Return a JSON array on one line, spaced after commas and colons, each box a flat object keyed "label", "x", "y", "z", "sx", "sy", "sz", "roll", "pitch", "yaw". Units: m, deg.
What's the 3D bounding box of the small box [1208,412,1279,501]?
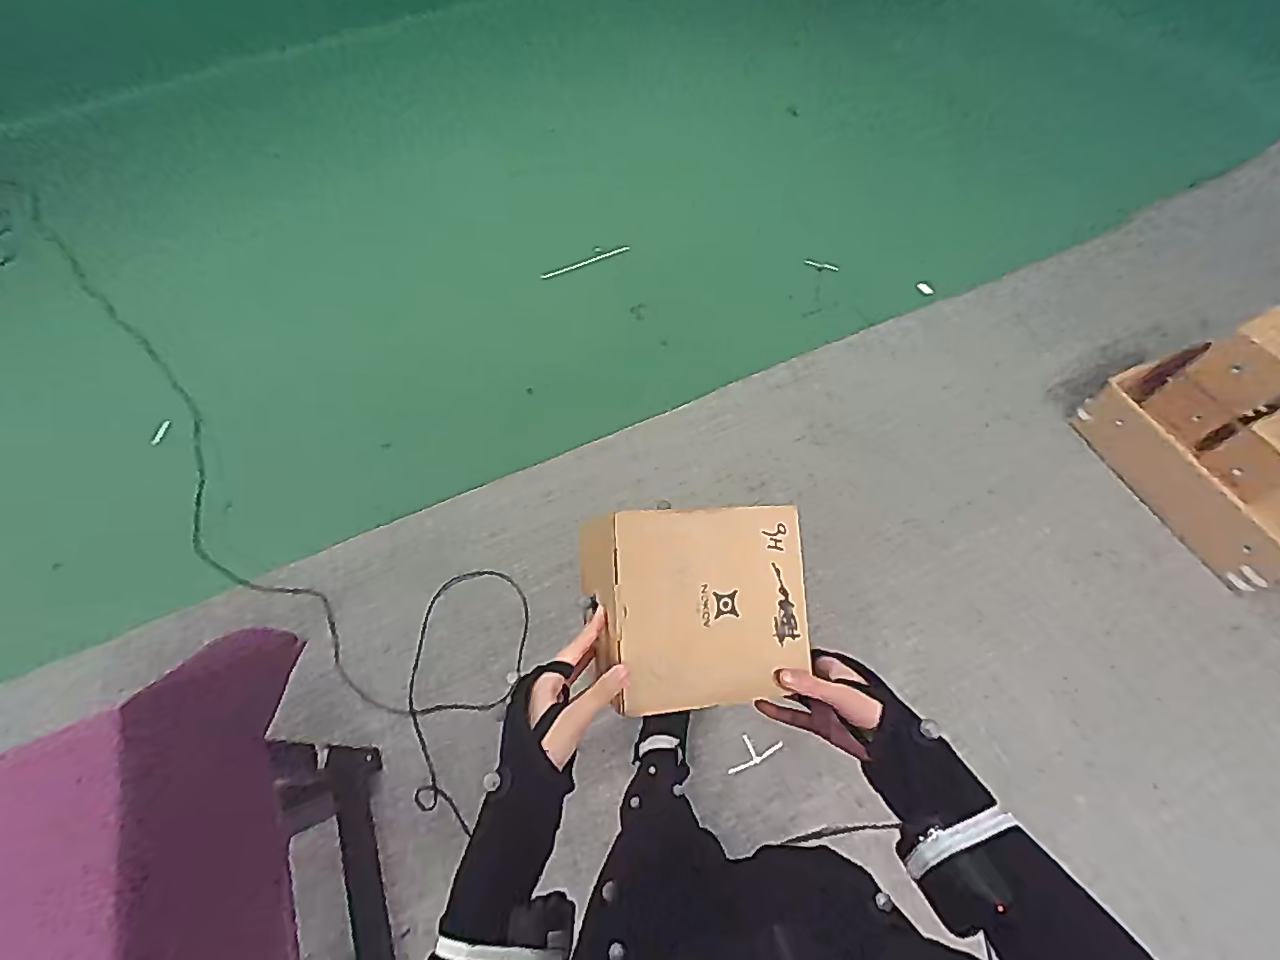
[{"label": "small box", "x": 1.677, "y": -0.072, "z": 1.414, "sx": 0.179, "sy": 0.176, "sz": 0.168, "roll": -22, "pitch": 61, "yaw": -7}]

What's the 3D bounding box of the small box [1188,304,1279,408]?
[{"label": "small box", "x": 1.575, "y": -0.305, "z": 1.361, "sx": 0.168, "sy": 0.176, "sz": 0.179, "roll": -26, "pitch": 62, "yaw": -8}]
